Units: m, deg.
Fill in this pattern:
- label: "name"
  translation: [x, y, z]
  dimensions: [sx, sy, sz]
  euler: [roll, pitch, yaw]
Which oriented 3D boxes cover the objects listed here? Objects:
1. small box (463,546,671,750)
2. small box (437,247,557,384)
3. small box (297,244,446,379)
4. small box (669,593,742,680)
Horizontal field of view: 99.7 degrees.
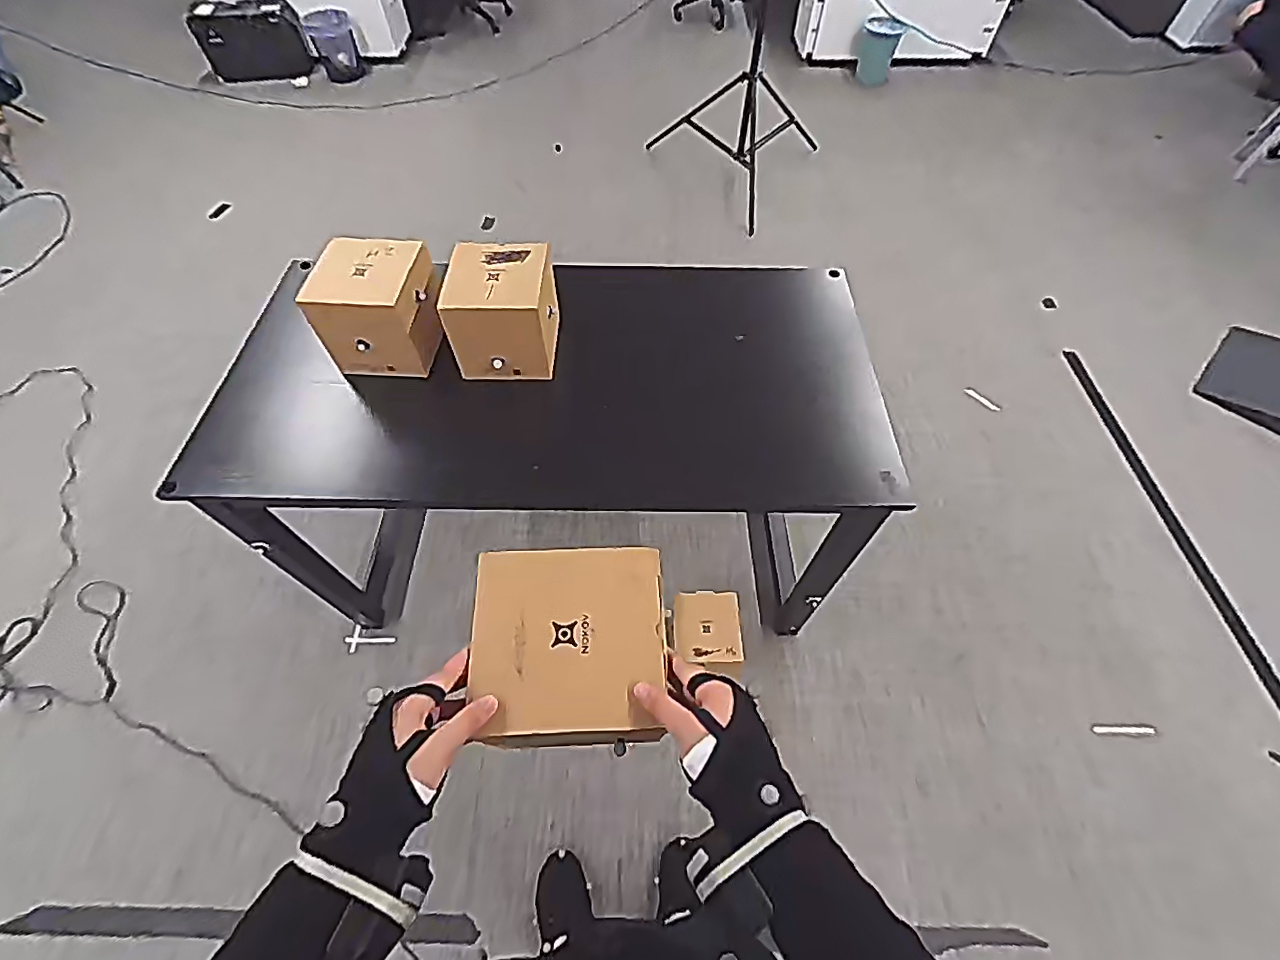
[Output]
- label: "small box"
  translation: [-0.066, 0.178, 0.559]
  dimensions: [0.179, 0.176, 0.168]
  euler: [-3, 59, -2]
- label: "small box"
  translation: [-0.247, -0.297, 0.982]
  dimensions: [0.168, 0.176, 0.179]
  euler: [0, 57, 0]
- label: "small box"
  translation: [-0.471, -0.303, 0.985]
  dimensions: [0.168, 0.176, 0.179]
  euler: [3, 57, 1]
- label: "small box"
  translation: [0.162, 0.405, 1.393]
  dimensions: [0.168, 0.176, 0.179]
  euler: [-1, 56, 0]
